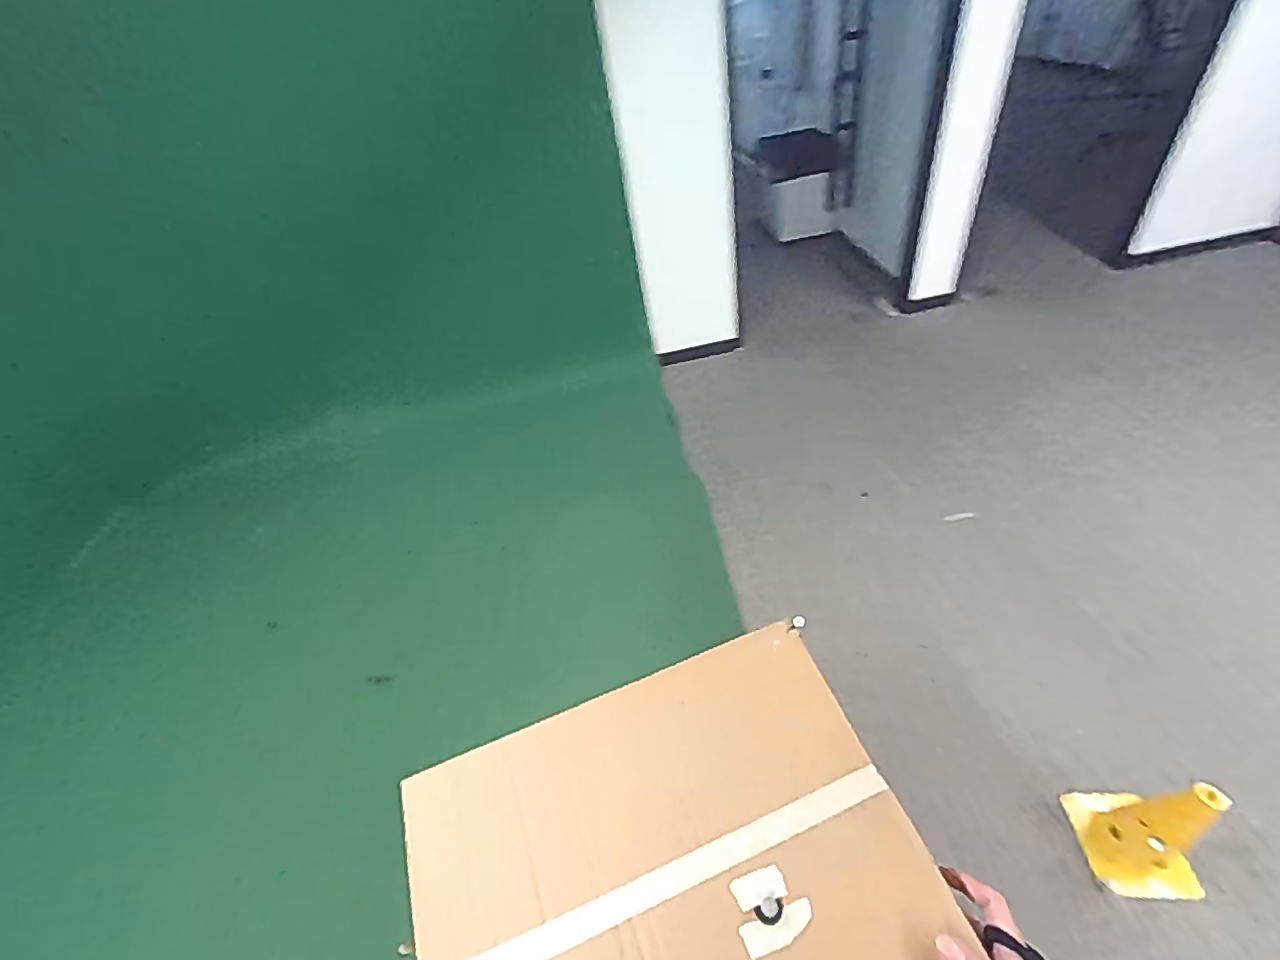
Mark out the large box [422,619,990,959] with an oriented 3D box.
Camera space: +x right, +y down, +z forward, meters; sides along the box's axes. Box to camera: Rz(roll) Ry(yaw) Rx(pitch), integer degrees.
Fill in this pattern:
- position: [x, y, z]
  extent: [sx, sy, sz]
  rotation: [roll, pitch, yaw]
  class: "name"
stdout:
- position: [0.041, 0.412, 0.575]
  extent: [0.408, 0.320, 0.320]
  rotation: [-19, 56, -8]
  class: "large box"
